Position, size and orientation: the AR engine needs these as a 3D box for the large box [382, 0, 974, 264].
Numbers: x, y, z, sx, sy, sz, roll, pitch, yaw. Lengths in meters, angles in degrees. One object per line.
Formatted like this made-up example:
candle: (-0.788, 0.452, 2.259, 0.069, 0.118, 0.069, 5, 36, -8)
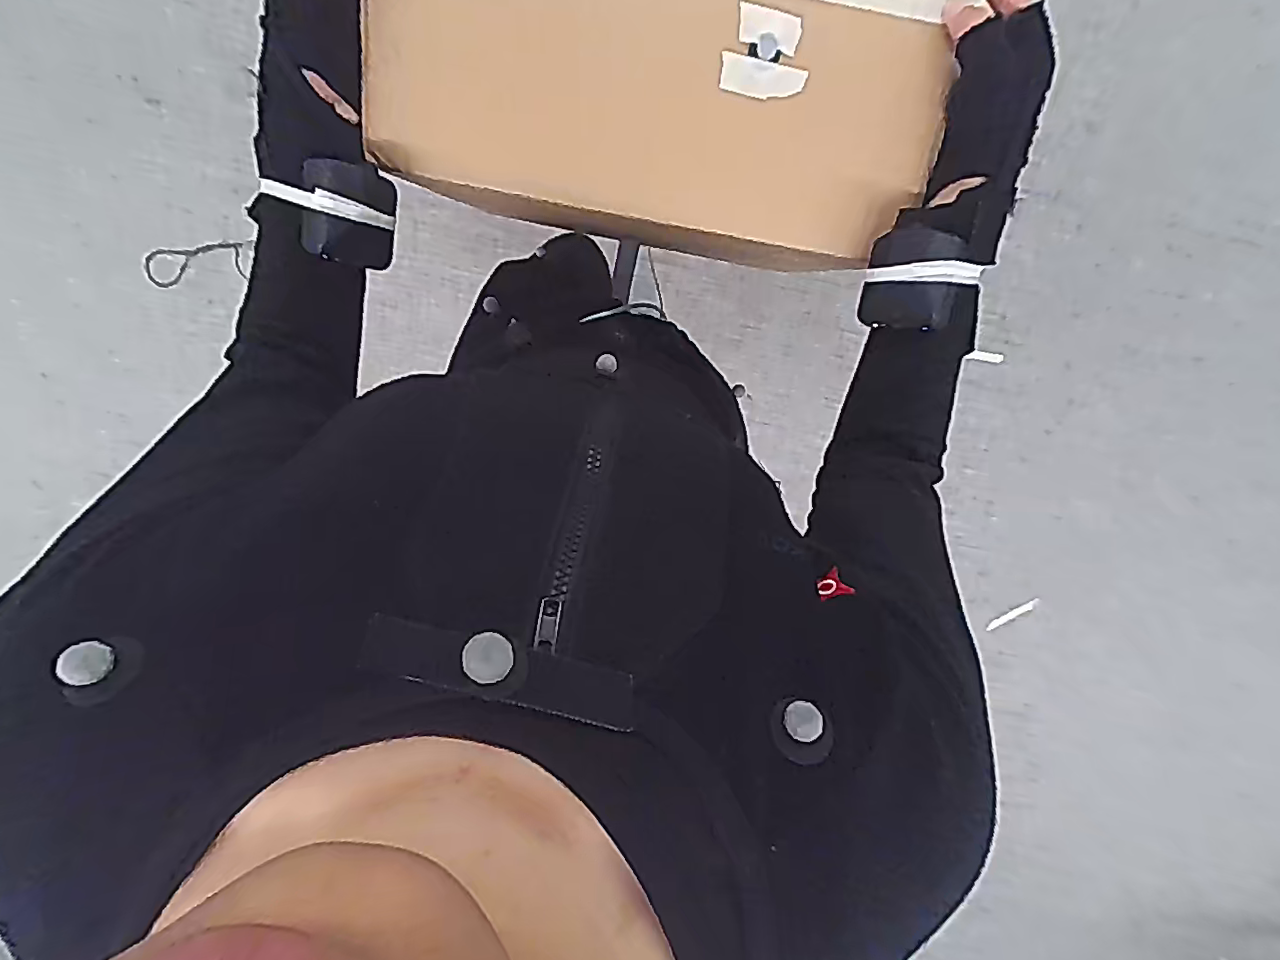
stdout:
large box: (0.026, -0.395, 0.498, 0.408, 0.320, 0.320, 9, 111, -4)
